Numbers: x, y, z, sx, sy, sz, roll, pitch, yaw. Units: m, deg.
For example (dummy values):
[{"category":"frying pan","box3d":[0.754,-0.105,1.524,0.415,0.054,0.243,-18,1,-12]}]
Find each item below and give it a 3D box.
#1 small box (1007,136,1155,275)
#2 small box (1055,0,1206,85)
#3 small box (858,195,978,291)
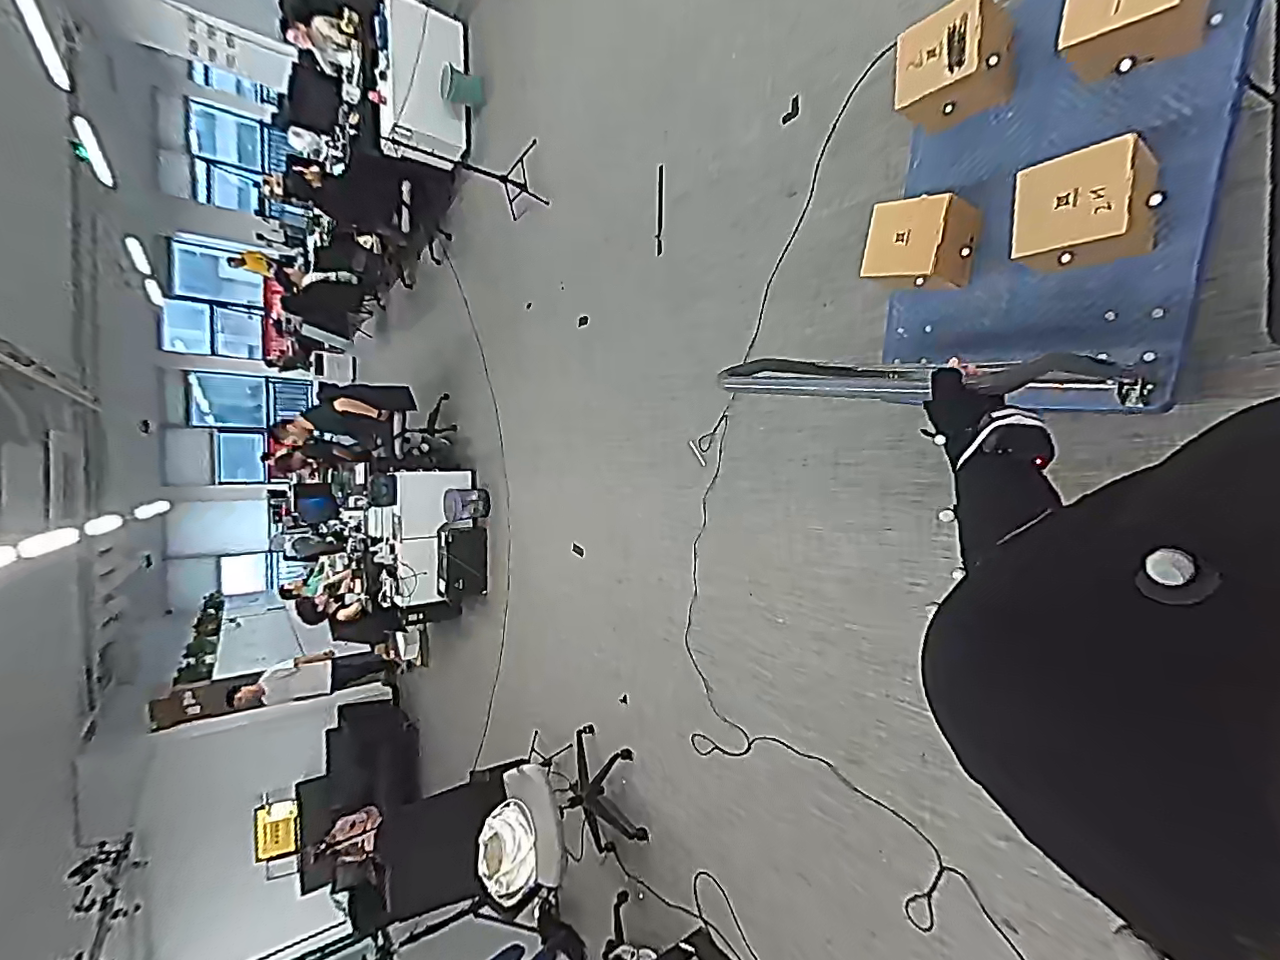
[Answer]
[{"category":"small box","box3d":[0.832,-0.502,1.024,0.179,0.176,0.168,7,97,53]},{"category":"small box","box3d":[0.875,-0.852,0.956,0.168,0.176,0.179,16,105,52]},{"category":"small box","box3d":[0.650,-0.544,1.268,0.179,0.176,0.168,22,108,49]}]
